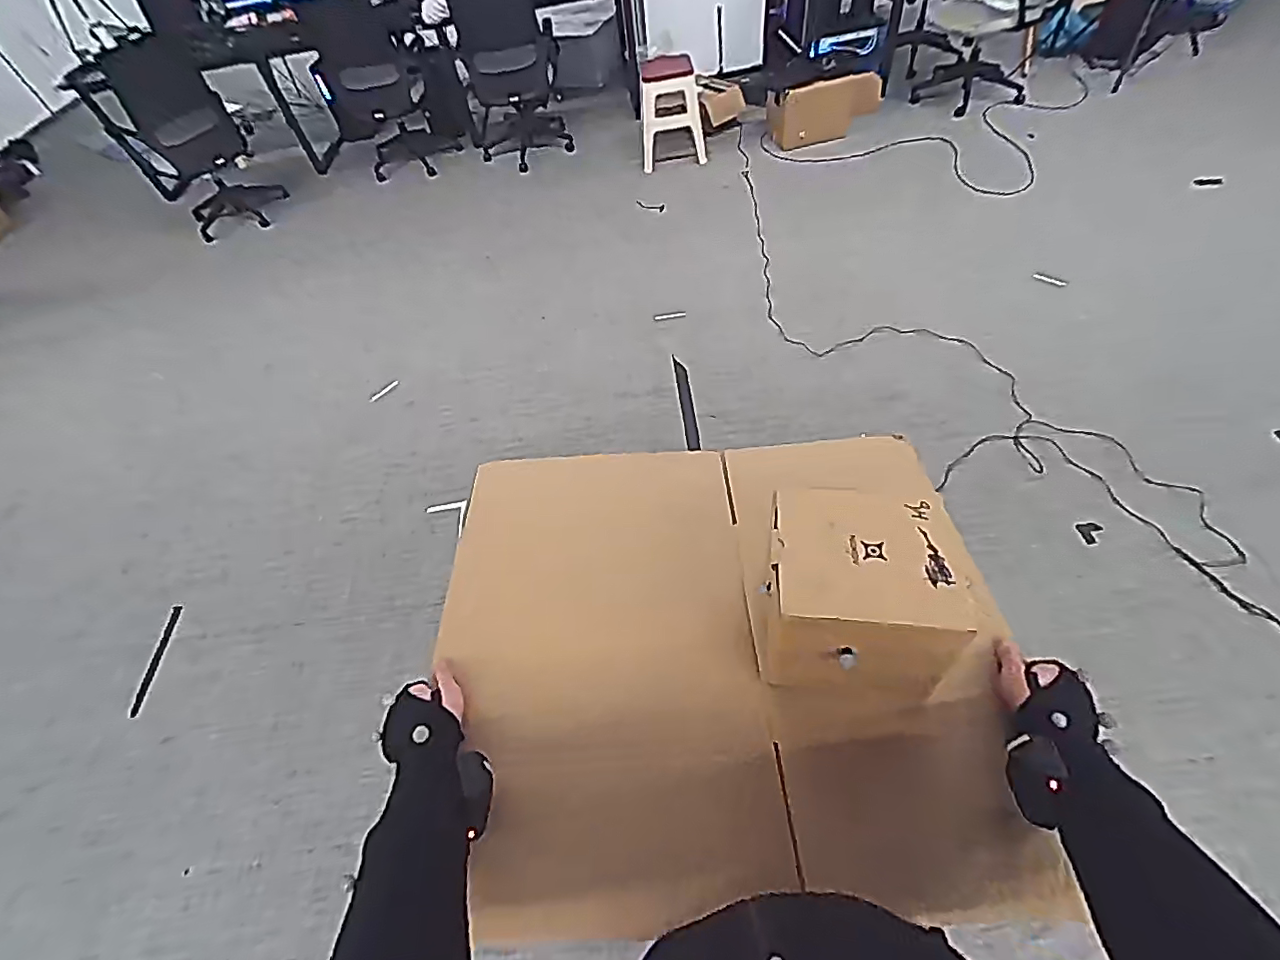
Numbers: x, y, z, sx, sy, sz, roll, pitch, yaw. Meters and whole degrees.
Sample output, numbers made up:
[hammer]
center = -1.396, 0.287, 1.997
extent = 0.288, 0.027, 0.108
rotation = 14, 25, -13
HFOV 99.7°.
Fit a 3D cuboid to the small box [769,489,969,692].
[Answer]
[small box]
center = 0.238, 0.127, 0.617
extent = 0.179, 0.176, 0.168
rotation = 1, 49, 11
